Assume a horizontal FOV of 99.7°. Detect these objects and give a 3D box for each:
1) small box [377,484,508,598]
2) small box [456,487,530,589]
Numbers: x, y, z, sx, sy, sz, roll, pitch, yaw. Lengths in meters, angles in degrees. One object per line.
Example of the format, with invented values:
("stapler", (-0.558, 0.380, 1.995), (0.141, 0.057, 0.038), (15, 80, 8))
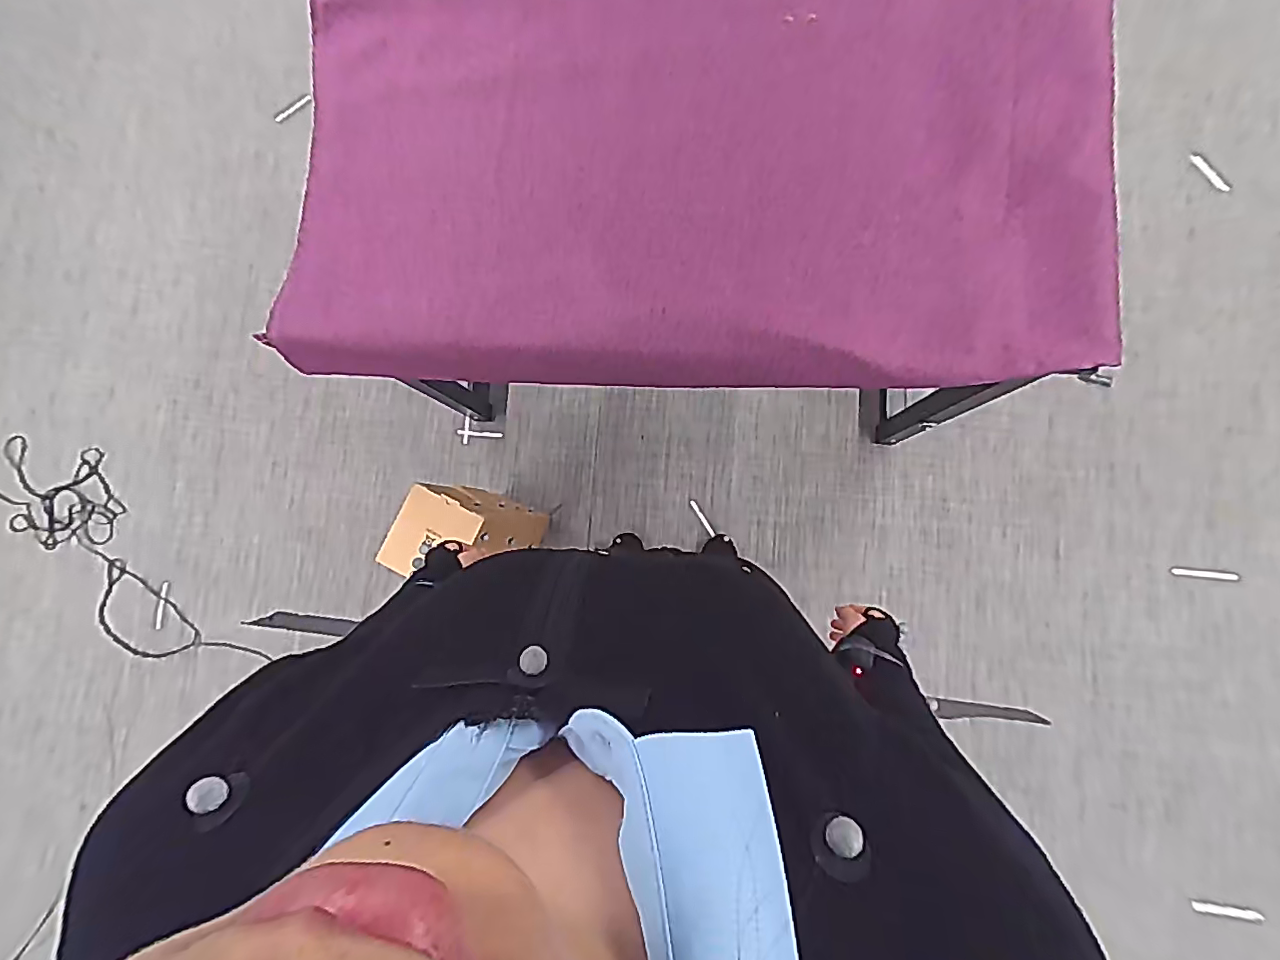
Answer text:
("small box", (-0.402, 0.126, 1.135), (0.168, 0.176, 0.179), (25, 87, 6))
("small box", (-0.384, 0.136, 1.296), (0.168, 0.176, 0.179), (32, 89, 7))
